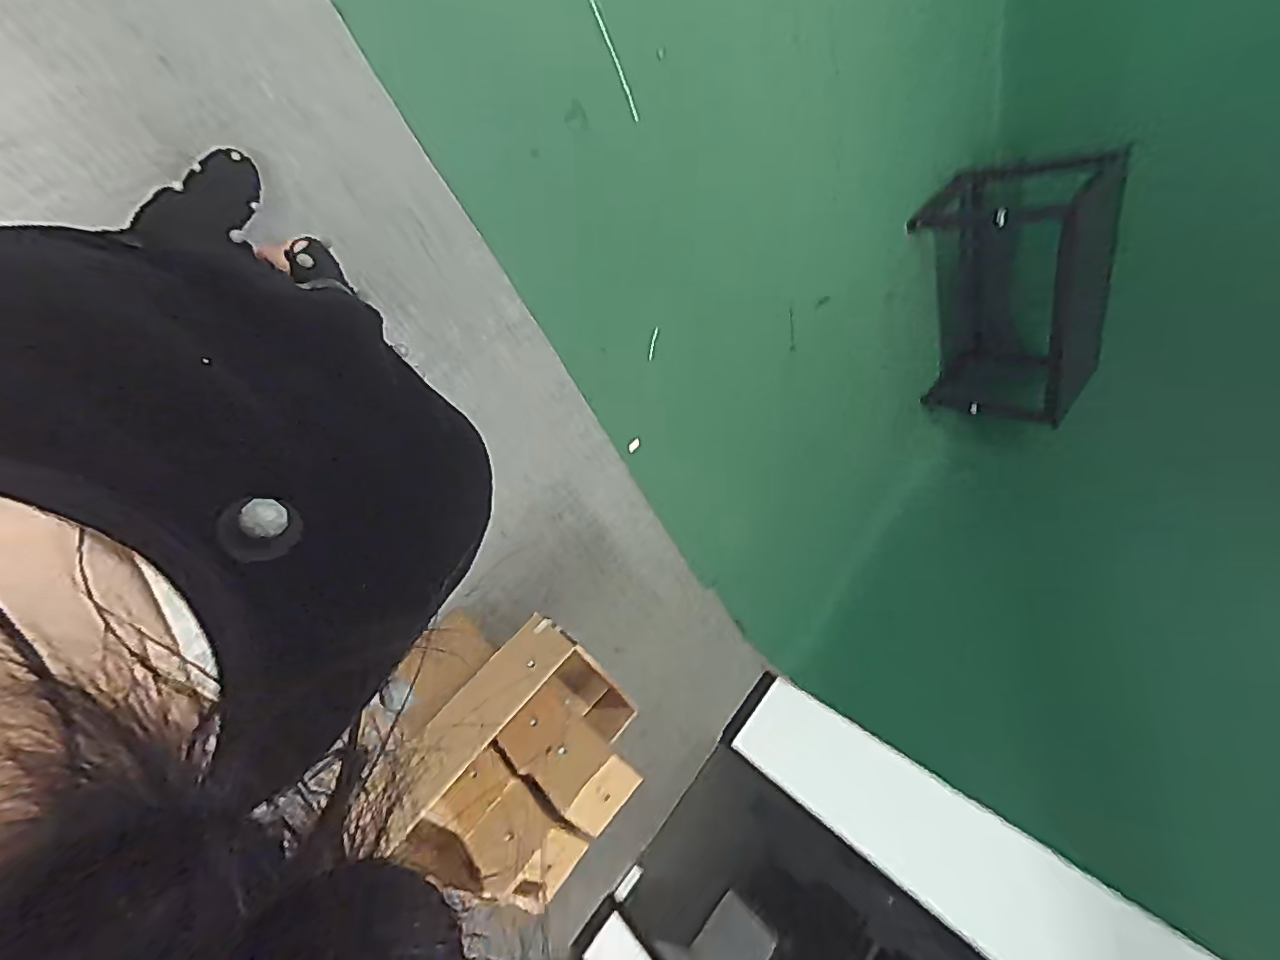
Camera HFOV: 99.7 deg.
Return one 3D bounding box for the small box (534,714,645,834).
[{"bbox_3d":[-0.123,0.710,1.319,0.168,0.176,0.179,-45,129,-19],"label":"small box"}]
